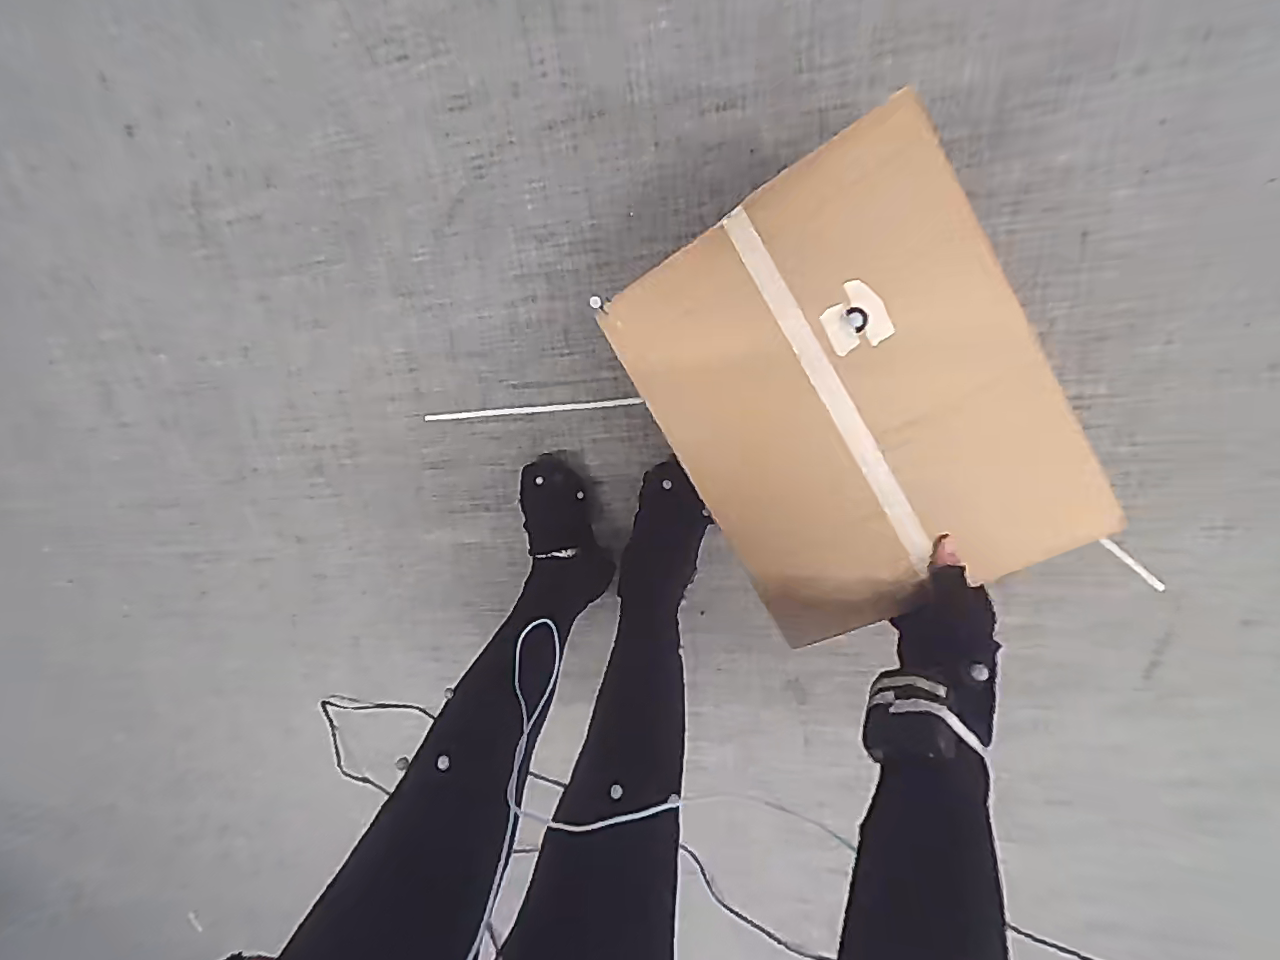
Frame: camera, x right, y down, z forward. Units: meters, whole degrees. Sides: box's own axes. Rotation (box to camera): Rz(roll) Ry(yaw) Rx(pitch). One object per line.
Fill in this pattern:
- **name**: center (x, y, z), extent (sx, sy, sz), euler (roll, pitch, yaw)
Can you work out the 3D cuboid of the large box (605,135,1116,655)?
- **large box**: center (0.231, -0.082, 0.645), extent (0.320, 0.320, 0.408), euler (-29, 94, 21)
